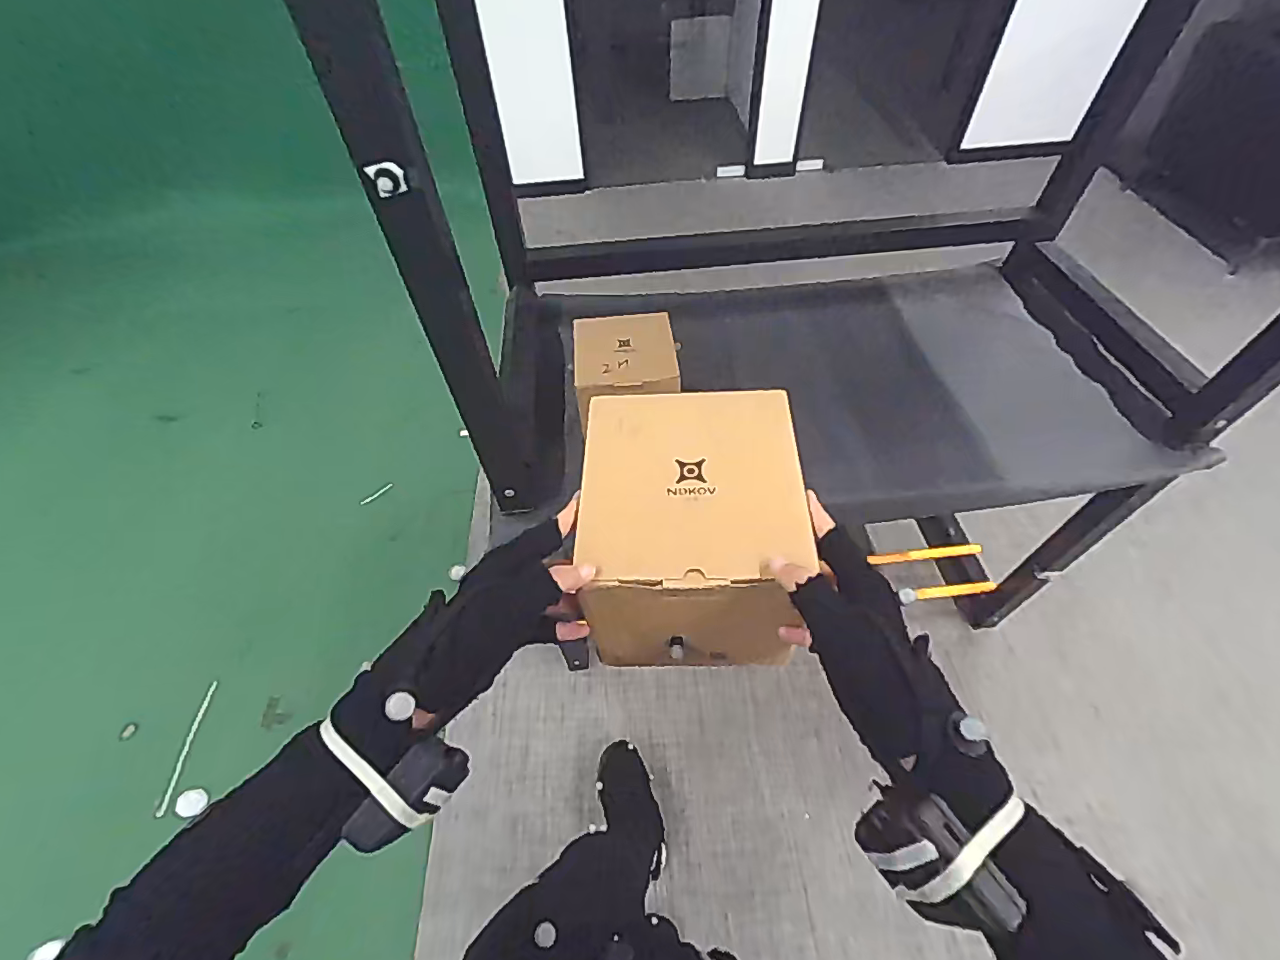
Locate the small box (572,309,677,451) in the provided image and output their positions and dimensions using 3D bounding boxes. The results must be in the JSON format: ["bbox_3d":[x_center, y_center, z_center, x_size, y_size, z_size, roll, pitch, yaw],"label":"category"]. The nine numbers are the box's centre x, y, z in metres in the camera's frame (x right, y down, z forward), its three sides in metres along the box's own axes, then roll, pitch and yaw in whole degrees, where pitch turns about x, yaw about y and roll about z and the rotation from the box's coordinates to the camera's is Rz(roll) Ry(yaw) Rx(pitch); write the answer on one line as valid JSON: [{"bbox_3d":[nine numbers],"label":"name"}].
[{"bbox_3d":[-0.028,-0.174,0.946,0.168,0.176,0.179,-6,52,-1],"label":"small box"}]
